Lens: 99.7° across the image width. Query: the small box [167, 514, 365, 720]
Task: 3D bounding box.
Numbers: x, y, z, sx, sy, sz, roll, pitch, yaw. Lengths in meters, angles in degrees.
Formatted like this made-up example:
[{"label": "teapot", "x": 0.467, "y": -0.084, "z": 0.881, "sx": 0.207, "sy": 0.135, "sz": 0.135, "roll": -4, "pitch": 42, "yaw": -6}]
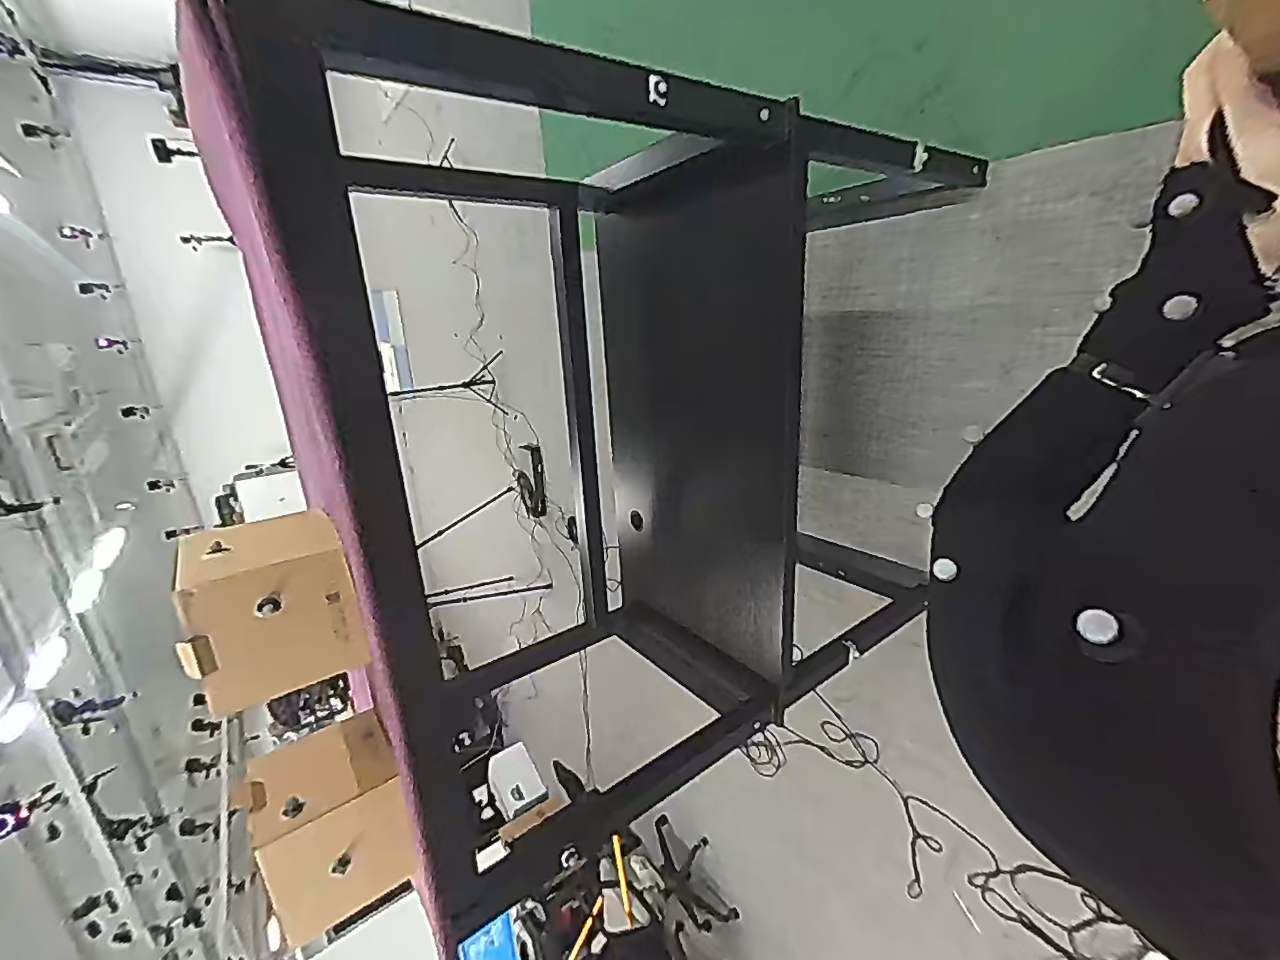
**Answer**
[{"label": "small box", "x": -0.460, "y": 0.155, "z": 0.682, "sx": 0.179, "sy": 0.176, "sz": 0.168, "roll": 21, "pitch": 119, "yaw": 51}]
